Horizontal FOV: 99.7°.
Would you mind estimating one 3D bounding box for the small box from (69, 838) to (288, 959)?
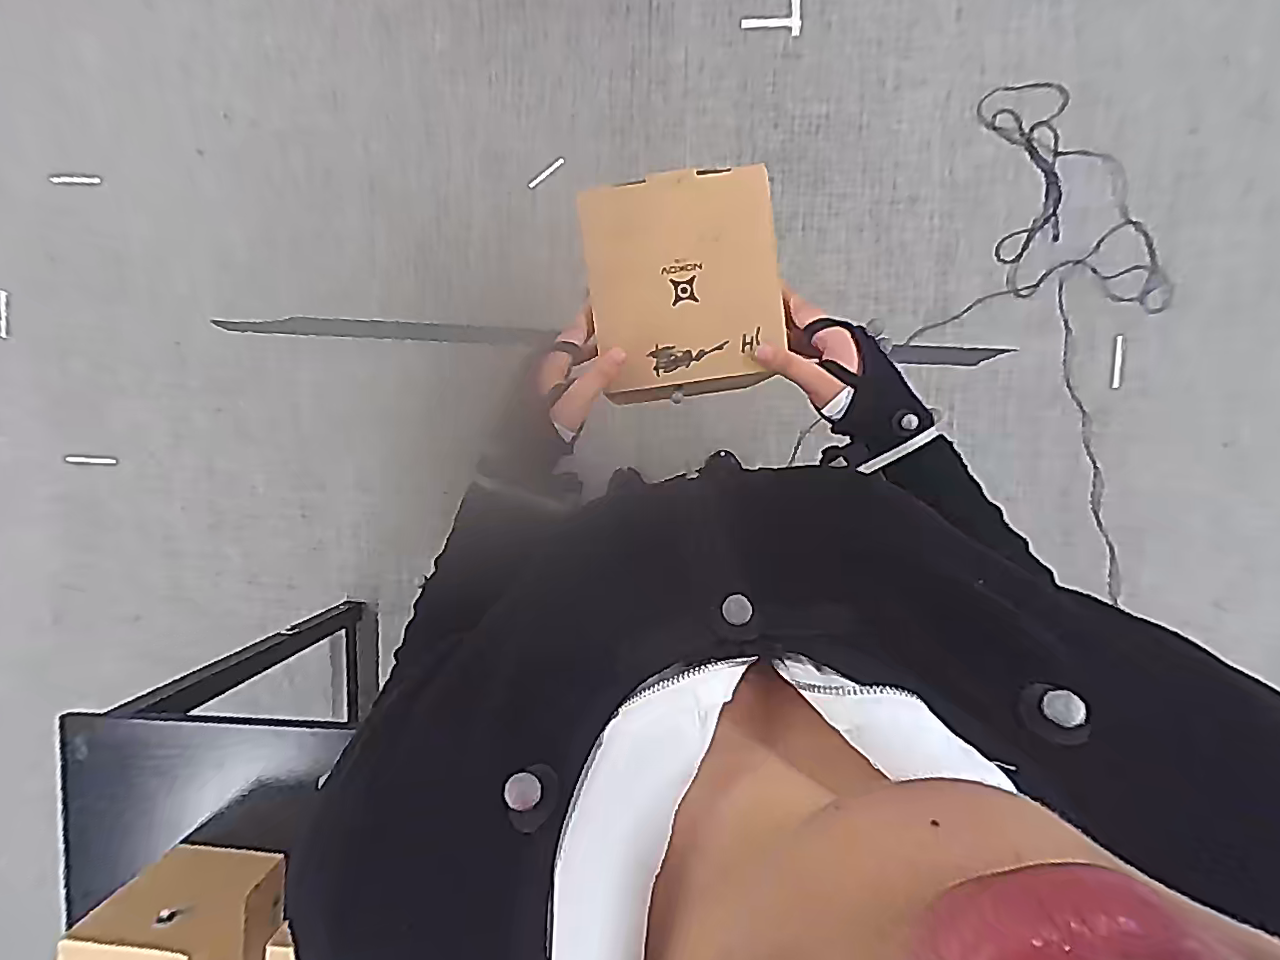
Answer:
[{"bbox_3d":[-0.631,0.641,0.759,0.179,0.176,0.168,4,93,3],"label":"small box"}]

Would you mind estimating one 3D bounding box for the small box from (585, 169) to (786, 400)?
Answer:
[{"bbox_3d":[0.040,-0.182,0.555,0.168,0.176,0.179,-7,95,1],"label":"small box"}]
